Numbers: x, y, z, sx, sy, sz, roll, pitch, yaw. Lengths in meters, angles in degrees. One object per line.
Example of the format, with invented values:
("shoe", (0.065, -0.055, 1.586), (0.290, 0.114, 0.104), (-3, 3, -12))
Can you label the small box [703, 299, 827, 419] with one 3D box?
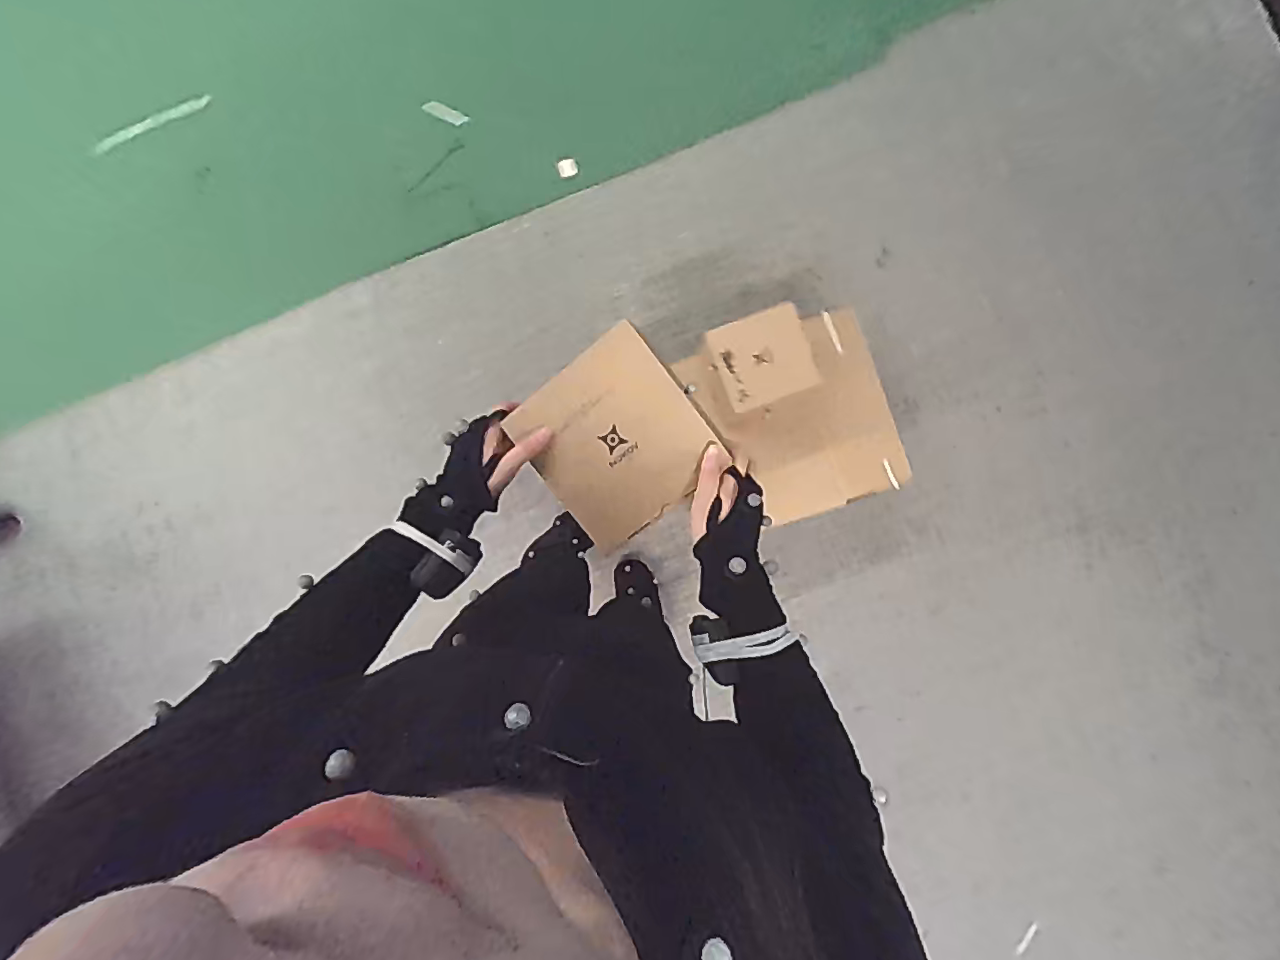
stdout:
("small box", (0.238, -0.231, 1.072), (0.179, 0.176, 0.168), (-19, 89, 0))
